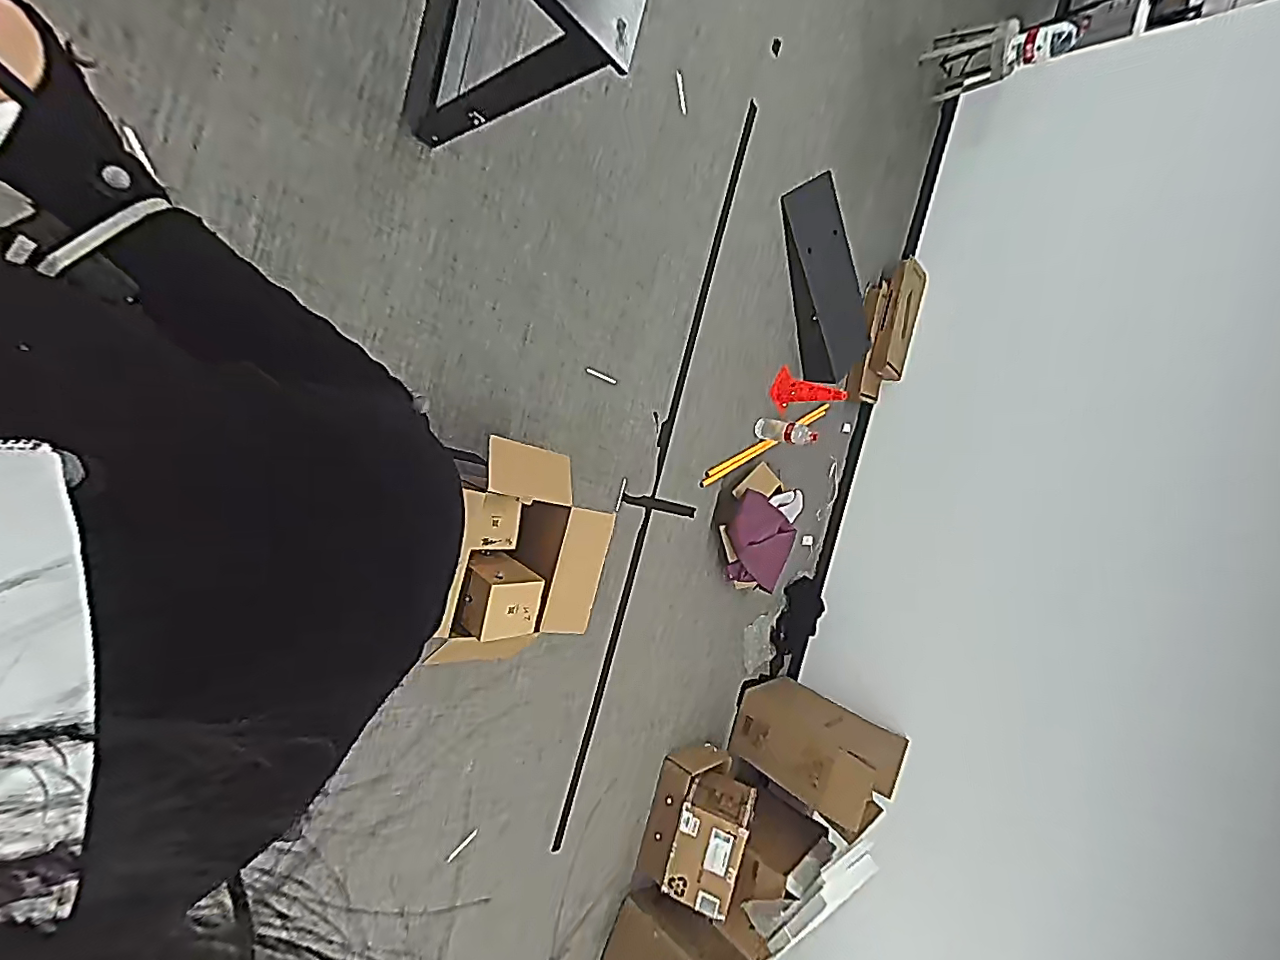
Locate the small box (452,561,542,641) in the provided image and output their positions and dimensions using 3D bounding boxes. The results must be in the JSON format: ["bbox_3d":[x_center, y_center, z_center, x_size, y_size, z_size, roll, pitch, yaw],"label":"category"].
[{"bbox_3d":[-0.411,0.337,1.539,0.179,0.176,0.168,5,102,-47],"label":"small box"}]
